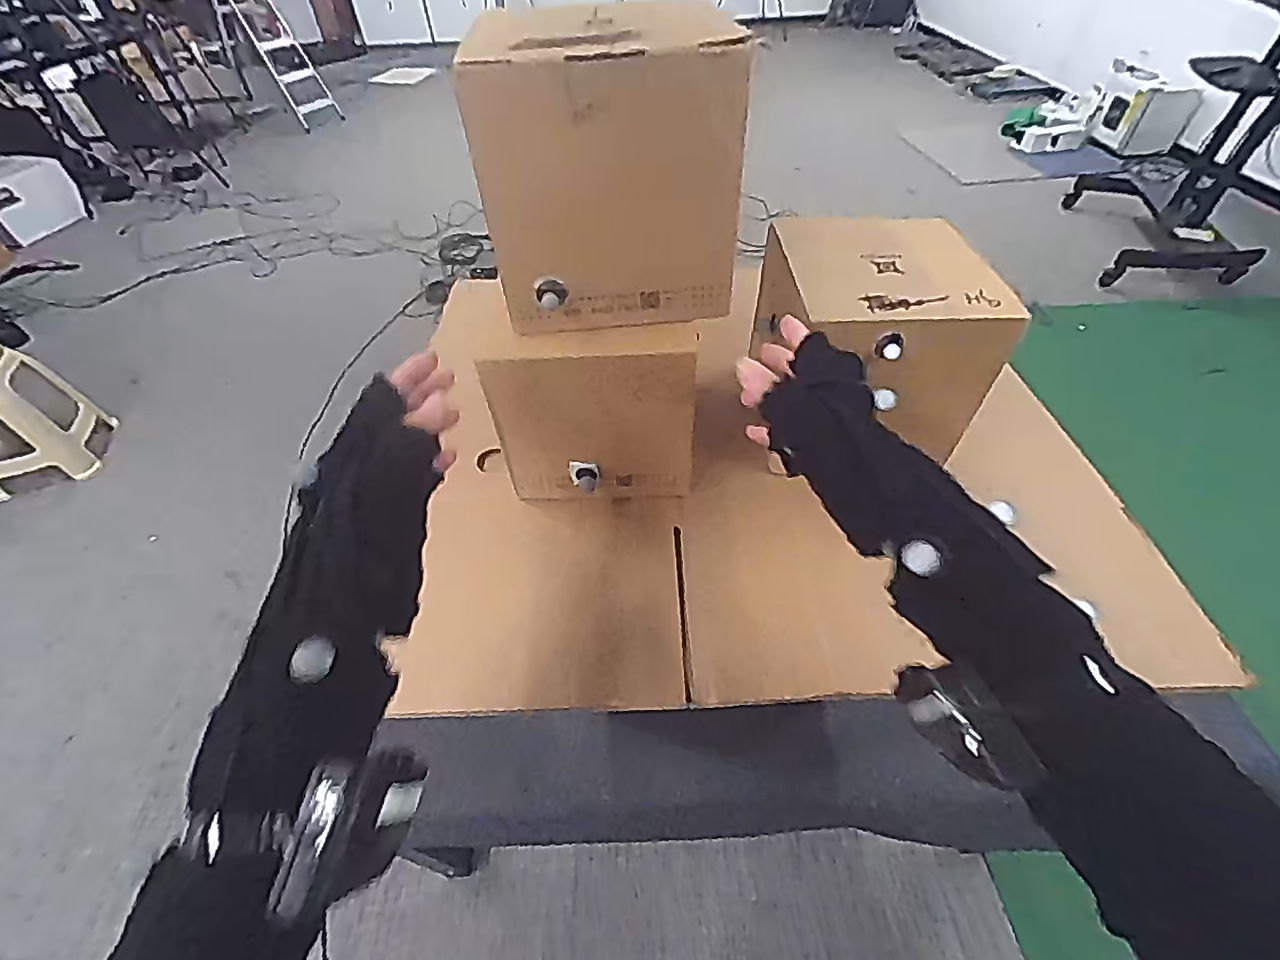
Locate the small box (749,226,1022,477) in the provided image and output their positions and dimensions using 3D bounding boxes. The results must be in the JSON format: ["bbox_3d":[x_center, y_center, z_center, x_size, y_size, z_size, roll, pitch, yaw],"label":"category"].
[{"bbox_3d":[0.204,-0.123,0.517,0.168,0.176,0.179,0,48,1],"label":"small box"}]

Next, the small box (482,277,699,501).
[{"bbox_3d":[-0.036,-0.099,0.515,0.168,0.176,0.179,-3,50,1],"label":"small box"}]

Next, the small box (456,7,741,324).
[{"bbox_3d":[-0.024,-0.233,0.414,0.168,0.176,0.179,-5,47,-1],"label":"small box"}]
